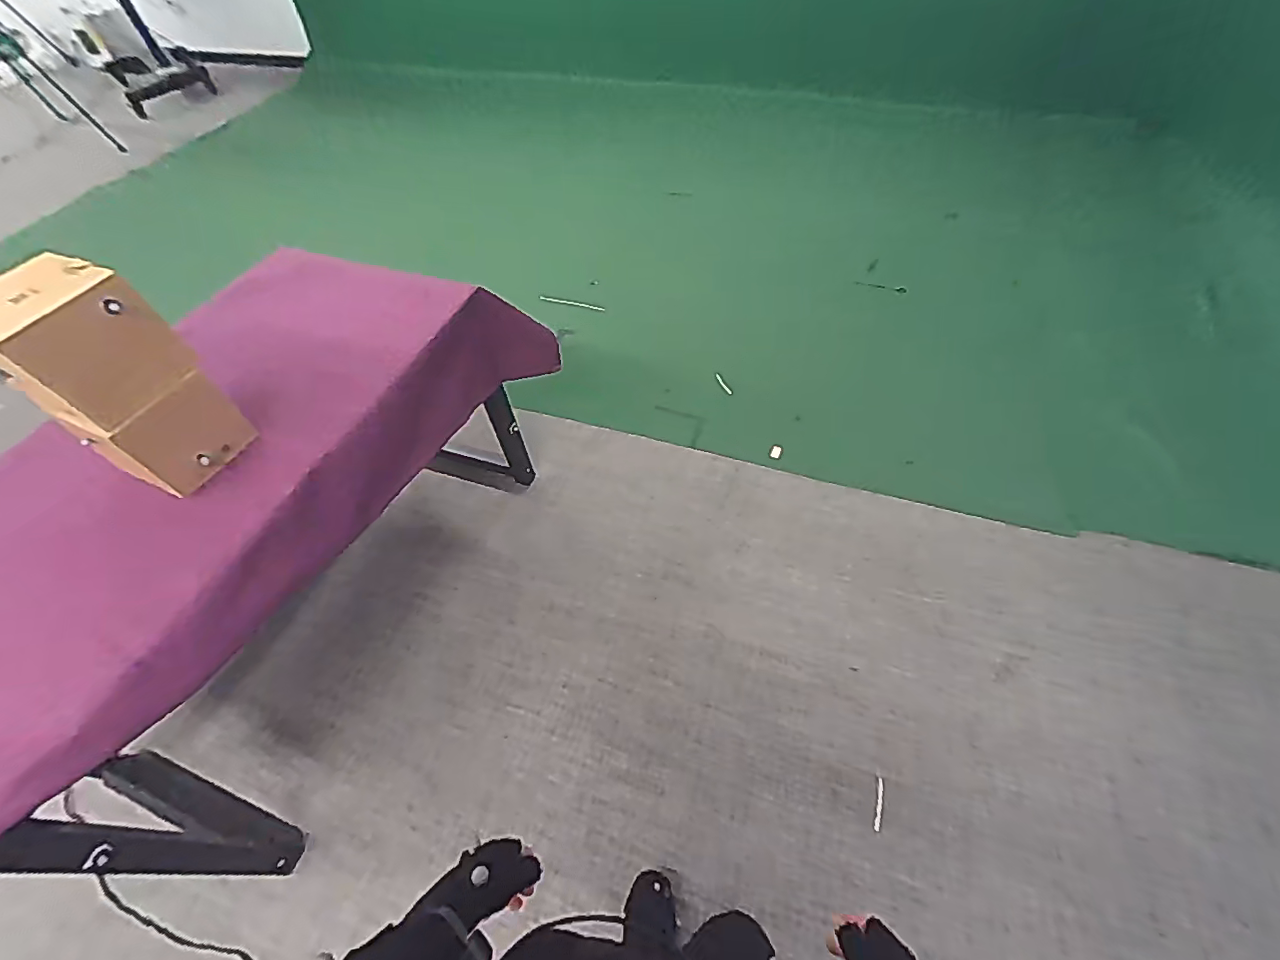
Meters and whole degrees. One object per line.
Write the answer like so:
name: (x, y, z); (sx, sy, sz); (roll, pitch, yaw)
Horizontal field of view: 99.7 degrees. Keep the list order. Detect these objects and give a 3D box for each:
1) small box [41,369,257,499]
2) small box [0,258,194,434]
small box: (-0.820, -0.092, 0.922); (0.179, 0.176, 0.168); (19, 58, 17)
small box: (-0.829, -0.193, 0.796); (0.168, 0.176, 0.179); (17, 57, 16)
